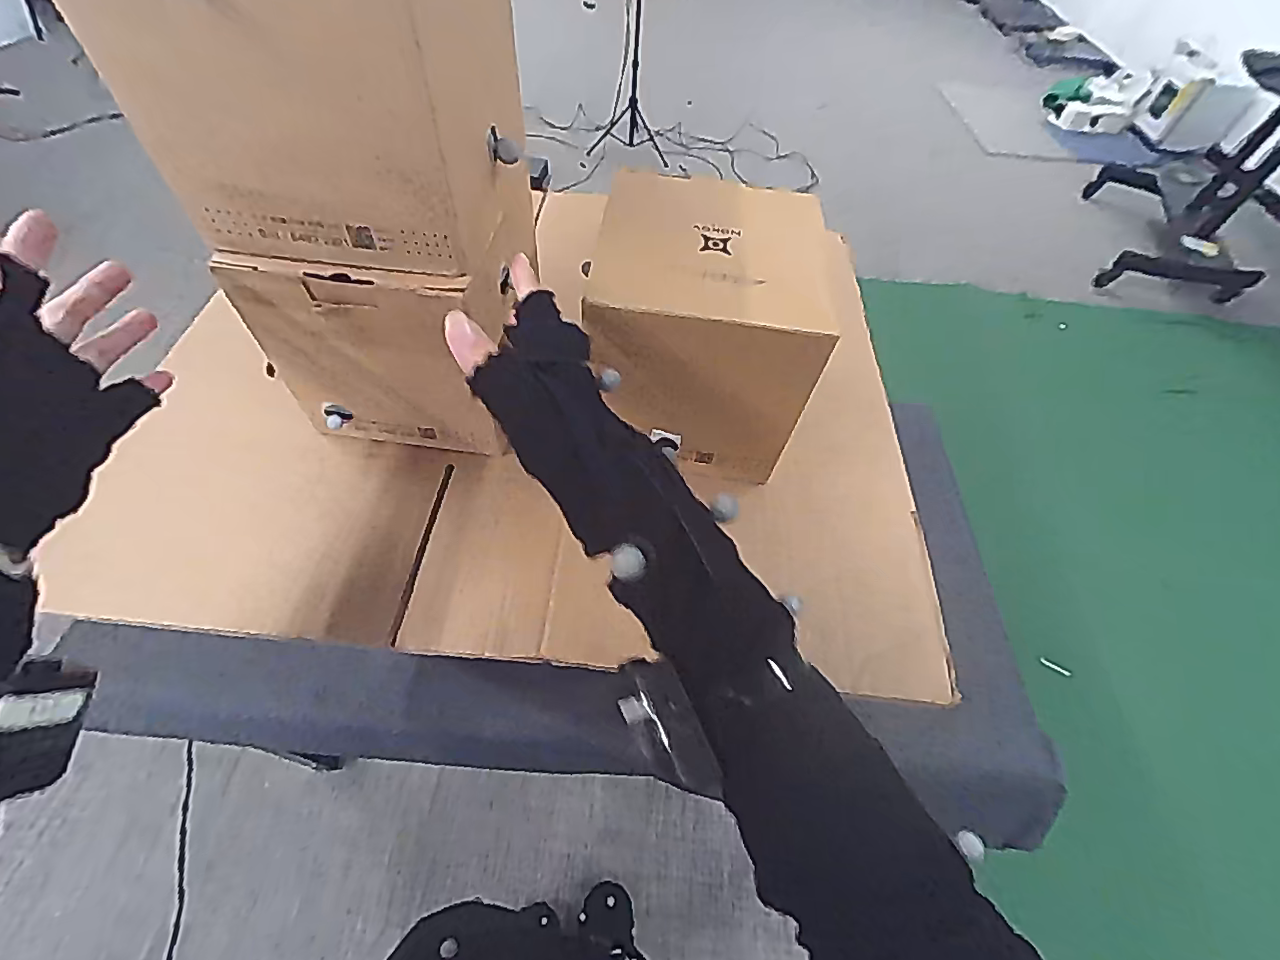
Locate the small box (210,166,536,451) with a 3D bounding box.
[{"bbox_3d":[-0.188,-0.145,0.454,0.168,0.176,0.179,7,54,1],"label":"small box"}]

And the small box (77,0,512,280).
[{"bbox_3d":[-0.181,-0.249,0.328,0.168,0.176,0.179,6,54,0],"label":"small box"}]
